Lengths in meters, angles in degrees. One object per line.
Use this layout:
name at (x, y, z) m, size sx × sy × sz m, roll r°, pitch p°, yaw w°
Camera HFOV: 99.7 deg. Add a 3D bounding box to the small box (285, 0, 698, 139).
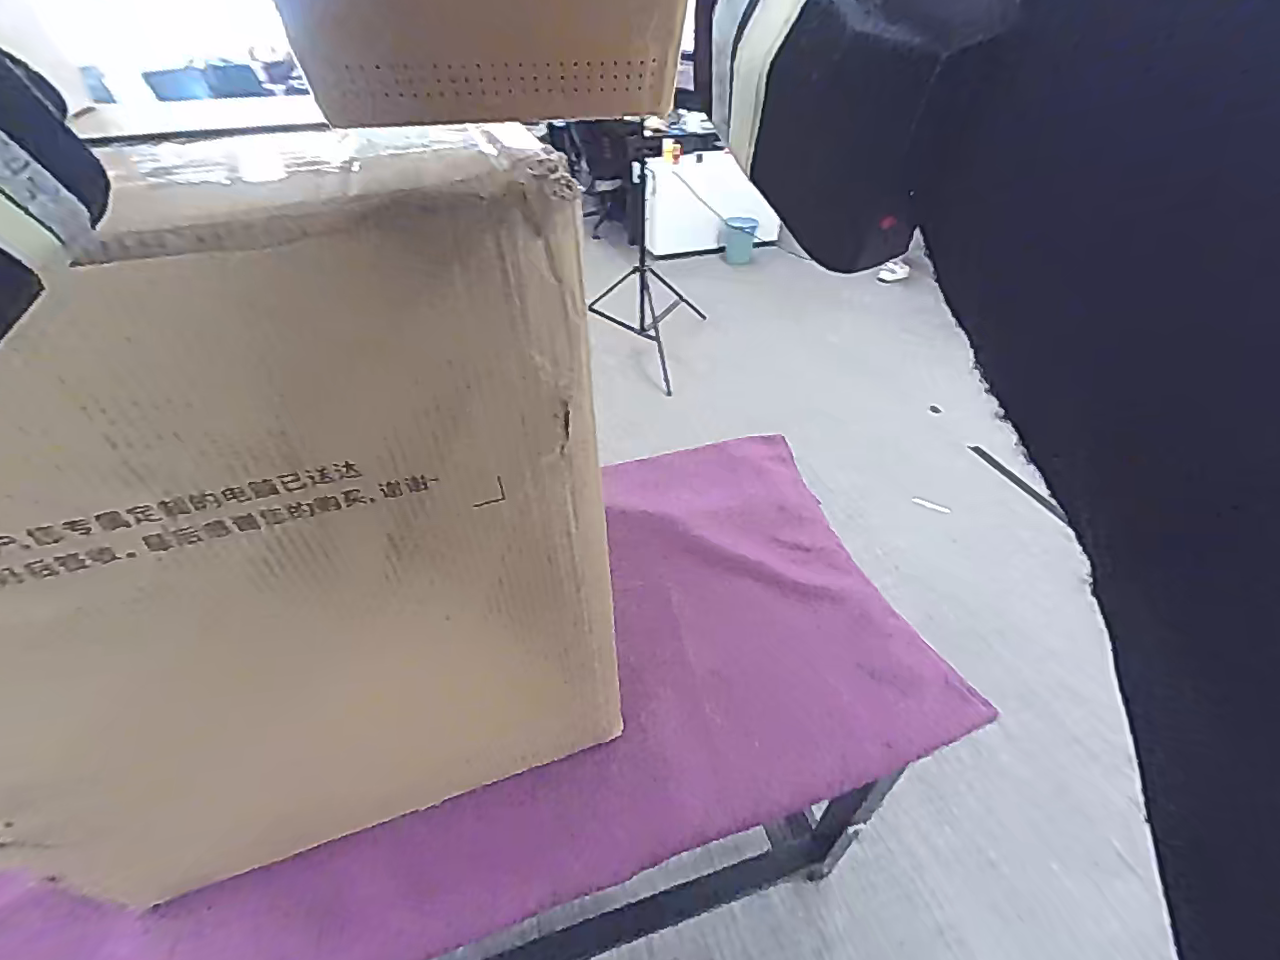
small box at (-0.065, -0.277, 0.227) m, size 0.179 × 0.176 × 0.168 m, roll -7°, pitch 74°, yaw -7°
